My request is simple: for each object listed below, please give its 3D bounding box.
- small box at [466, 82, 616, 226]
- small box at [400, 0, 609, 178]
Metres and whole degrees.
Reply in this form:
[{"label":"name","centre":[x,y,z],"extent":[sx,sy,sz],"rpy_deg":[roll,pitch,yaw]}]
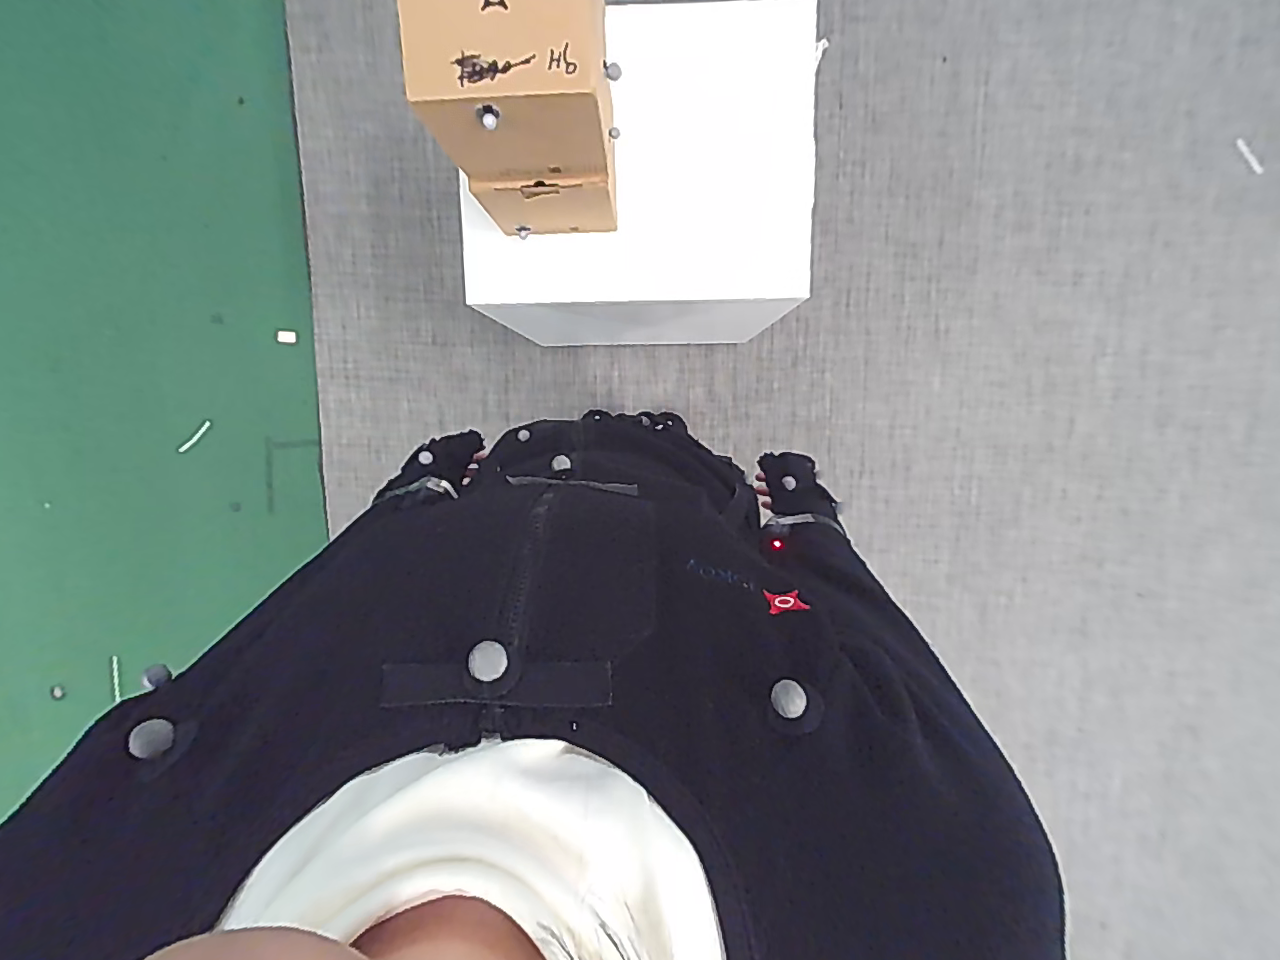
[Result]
[{"label":"small box","centre":[-0.120,-0.440,0.698],"extent":[0.168,0.176,0.179],"rpy_deg":[-2,97,1]},{"label":"small box","centre":[-0.121,-0.429,0.535],"extent":[0.168,0.176,0.179],"rpy_deg":[-2,97,2]}]
